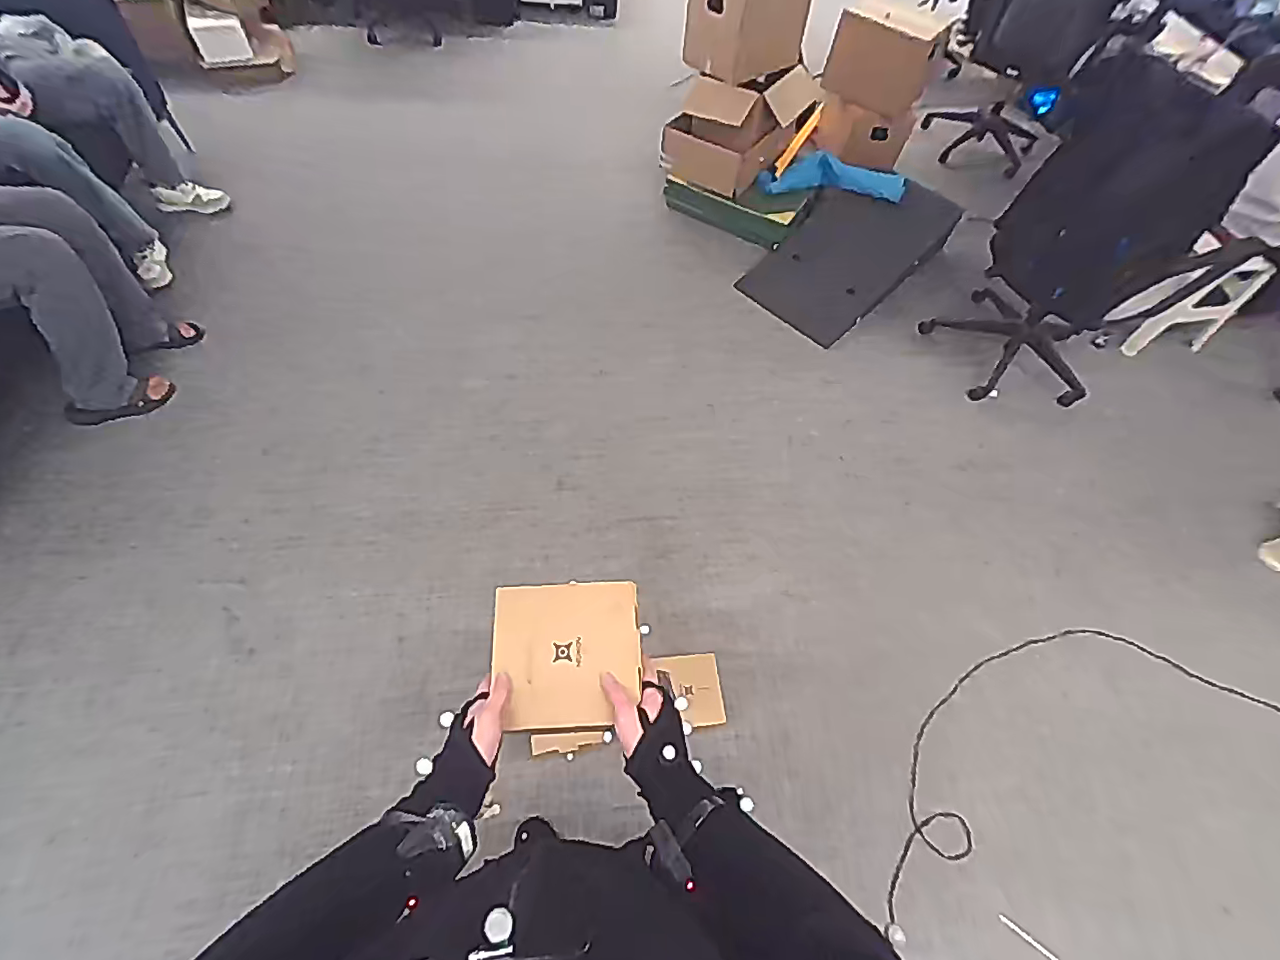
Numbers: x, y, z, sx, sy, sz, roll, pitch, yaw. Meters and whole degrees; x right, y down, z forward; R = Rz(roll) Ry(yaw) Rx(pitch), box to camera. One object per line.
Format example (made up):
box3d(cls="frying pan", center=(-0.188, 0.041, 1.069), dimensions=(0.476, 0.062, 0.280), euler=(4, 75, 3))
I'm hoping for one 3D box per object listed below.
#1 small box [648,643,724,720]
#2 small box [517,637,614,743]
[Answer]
box3d(cls="small box", center=(0.109, 0.518, 1.382), dimensions=(0.179, 0.176, 0.168), euler=(0, 62, -3))
box3d(cls="small box", center=(-0.177, 0.530, 1.351), dimensions=(0.179, 0.176, 0.168), euler=(-35, 65, -19))
